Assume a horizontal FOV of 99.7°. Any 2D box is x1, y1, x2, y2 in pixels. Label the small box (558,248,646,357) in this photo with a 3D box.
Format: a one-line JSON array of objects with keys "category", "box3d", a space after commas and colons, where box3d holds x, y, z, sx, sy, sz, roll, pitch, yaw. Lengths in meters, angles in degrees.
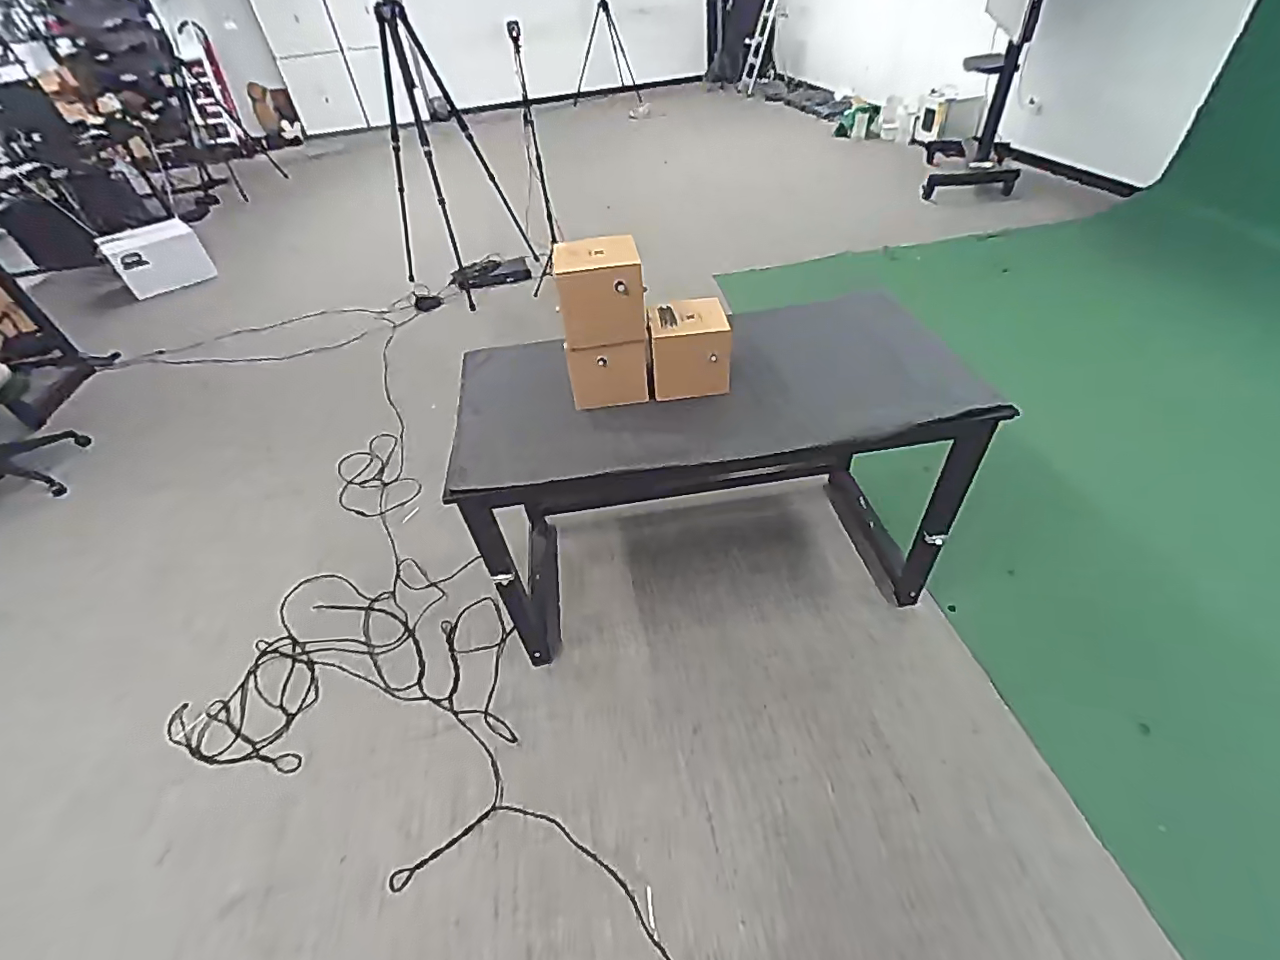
[{"category": "small box", "box3d": [-0.080, -0.387, 1.181, 0.179, 0.176, 0.168, -7, 42, -2]}]
